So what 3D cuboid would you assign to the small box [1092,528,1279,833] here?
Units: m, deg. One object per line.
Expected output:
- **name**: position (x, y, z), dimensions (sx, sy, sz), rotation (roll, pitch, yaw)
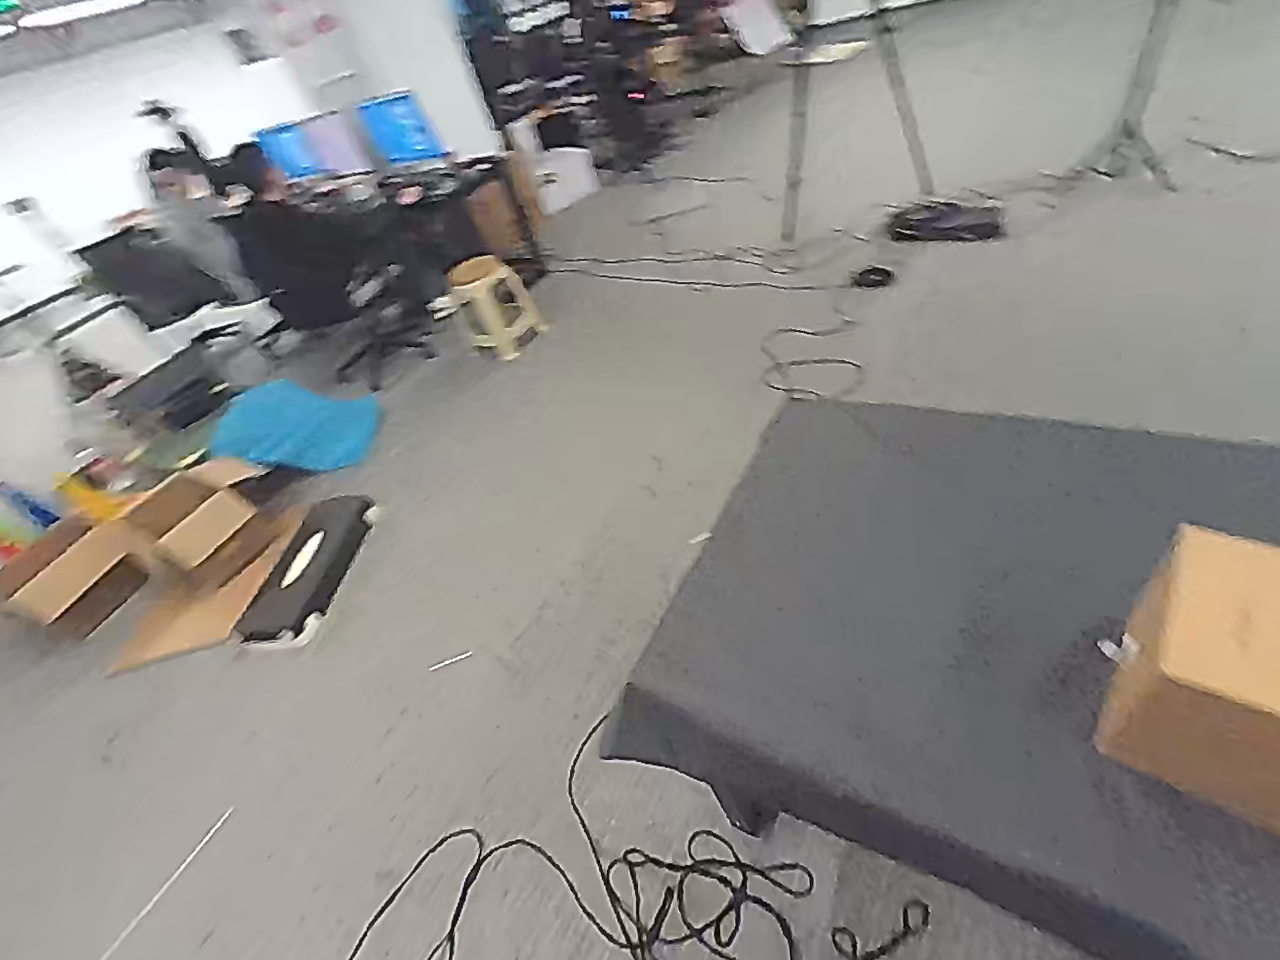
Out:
- **small box**: position (0.530, 0.175, 0.459), dimensions (0.179, 0.176, 0.168), rotation (19, 54, 36)
